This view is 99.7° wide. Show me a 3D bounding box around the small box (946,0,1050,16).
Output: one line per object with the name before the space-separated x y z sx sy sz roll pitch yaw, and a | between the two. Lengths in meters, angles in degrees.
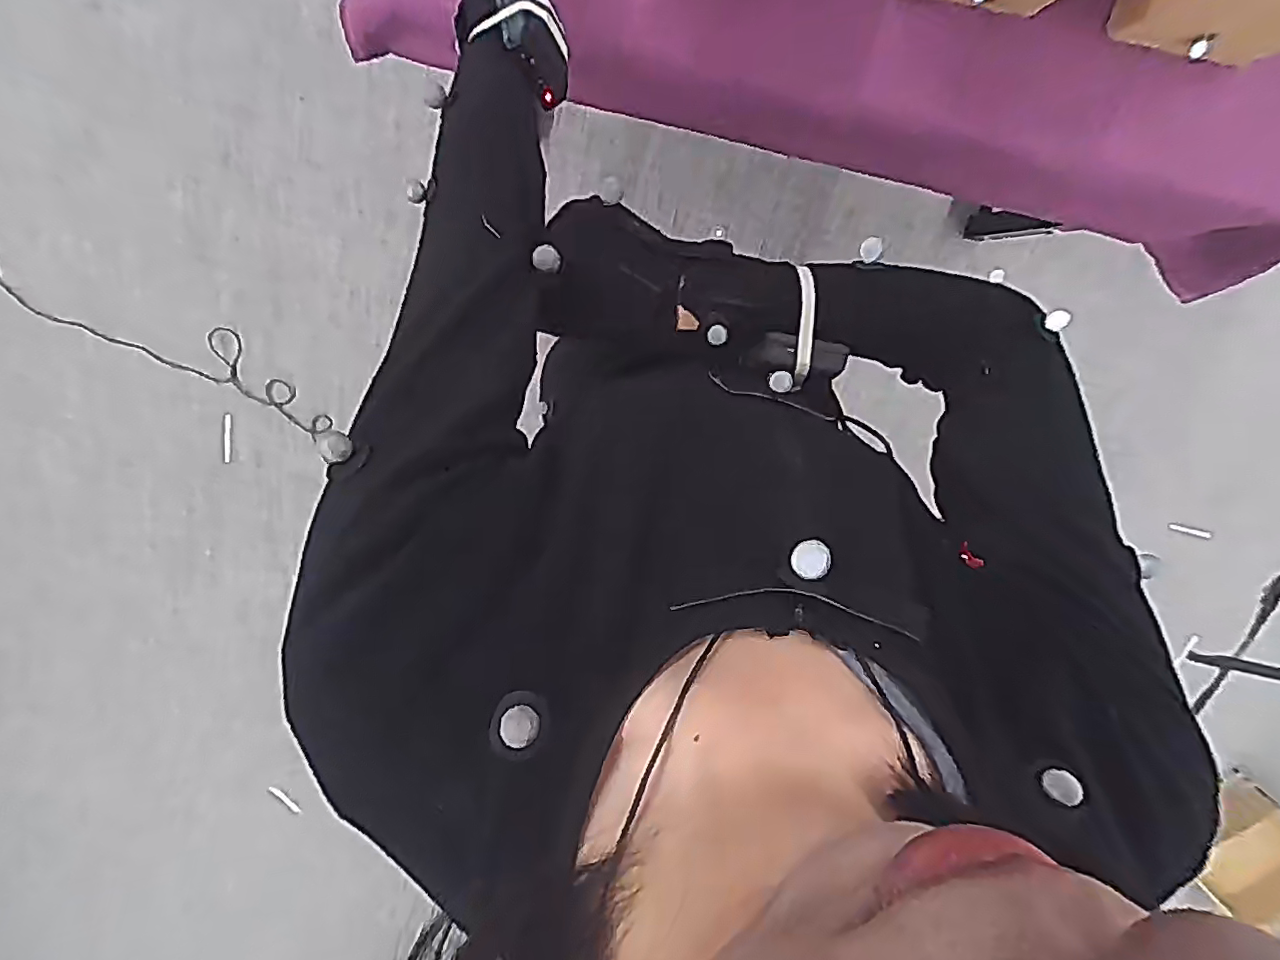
small box | 0.377 -0.586 0.501 0.168 0.176 0.179 6 110 -5

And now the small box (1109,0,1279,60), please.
small box | 0.636 -0.548 0.530 0.179 0.176 0.168 7 109 -6
